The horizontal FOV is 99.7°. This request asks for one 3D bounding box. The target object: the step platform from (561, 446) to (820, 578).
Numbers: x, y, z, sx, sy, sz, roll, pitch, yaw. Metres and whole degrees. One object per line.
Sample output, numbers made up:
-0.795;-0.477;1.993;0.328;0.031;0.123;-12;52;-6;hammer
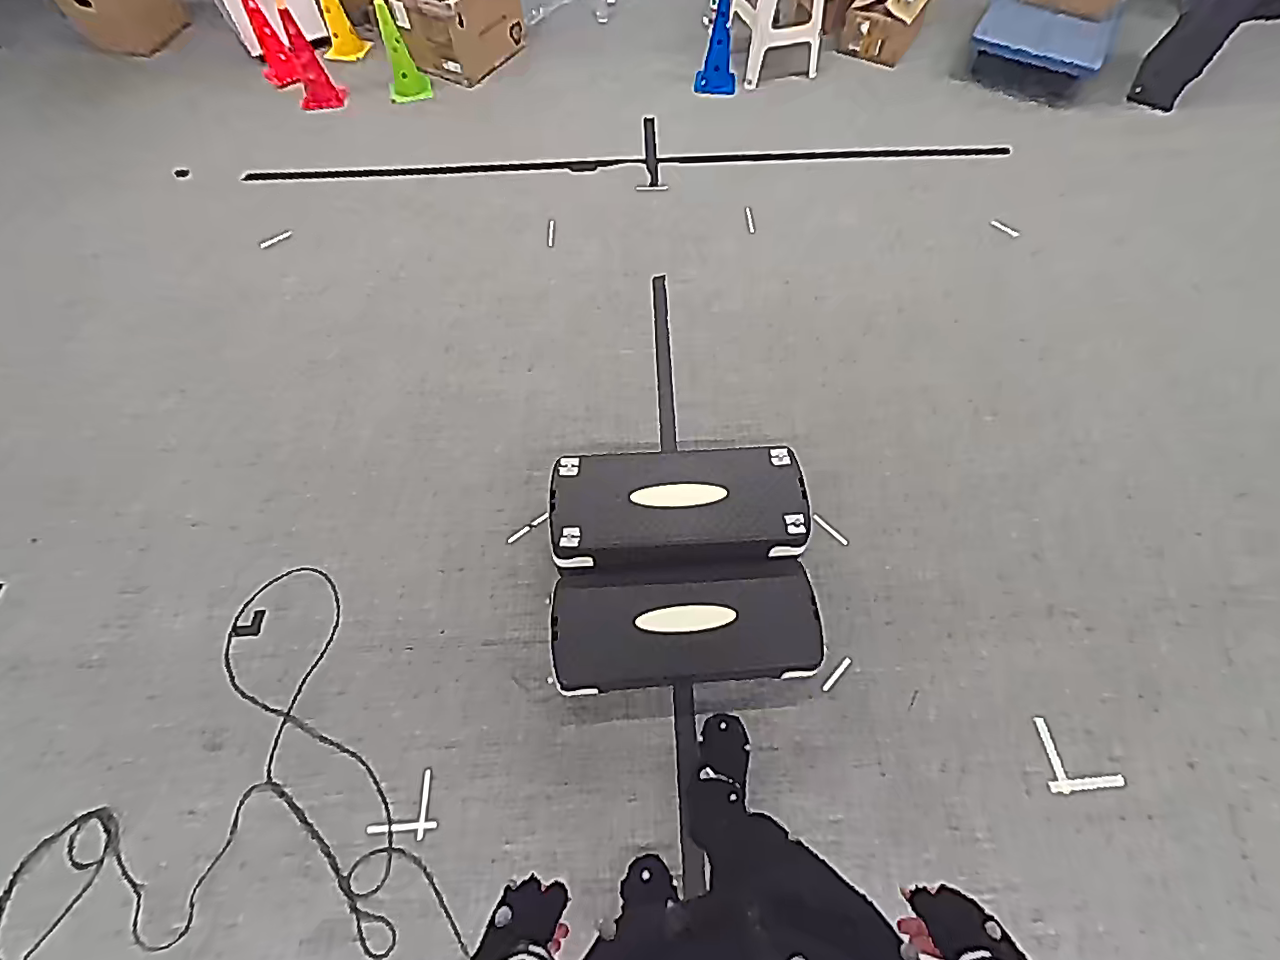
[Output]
0.129;0.082;1.472;0.684;0.204;0.286;-3;62;-3;step platform
